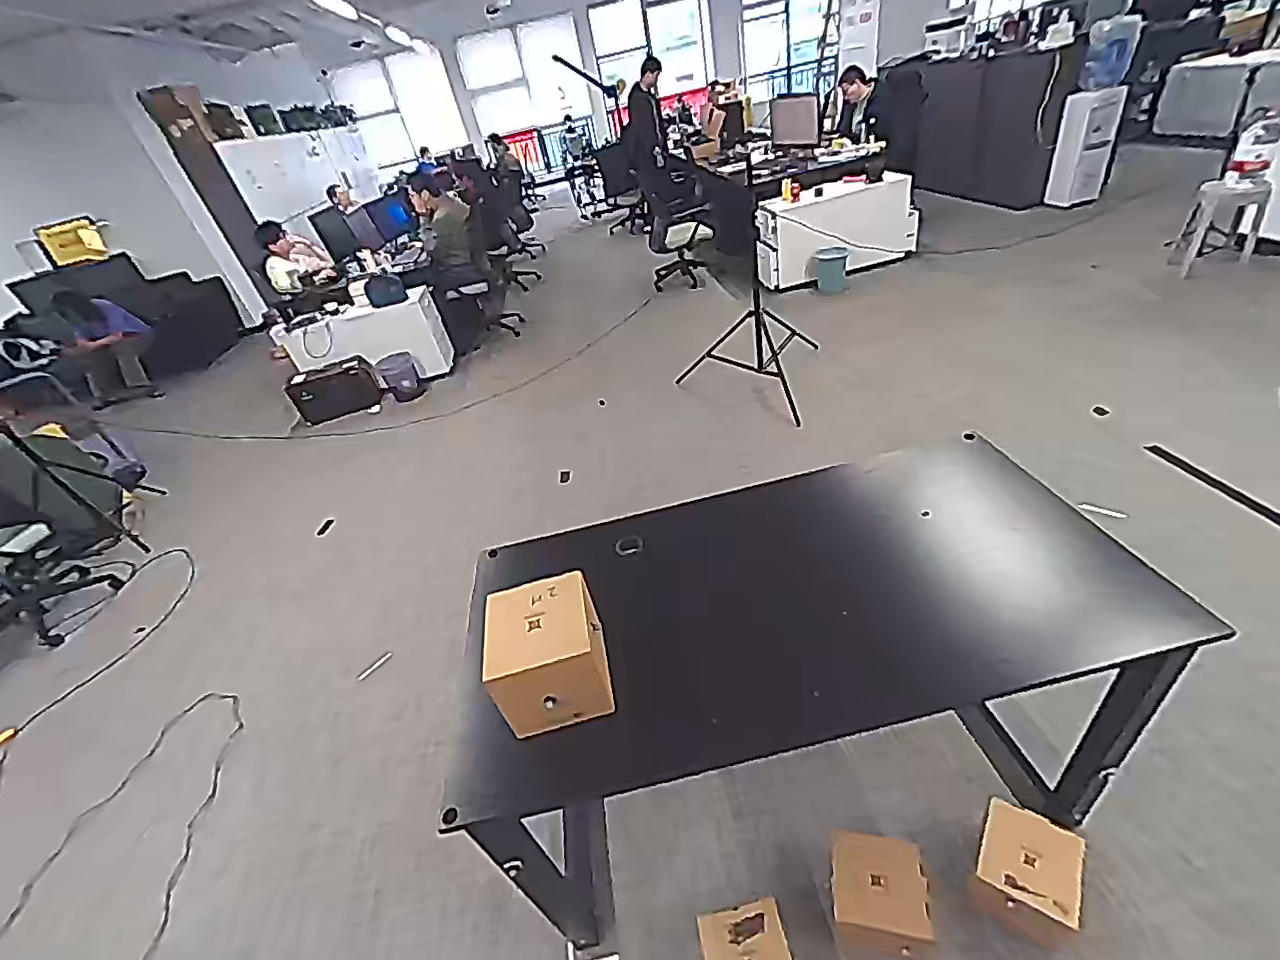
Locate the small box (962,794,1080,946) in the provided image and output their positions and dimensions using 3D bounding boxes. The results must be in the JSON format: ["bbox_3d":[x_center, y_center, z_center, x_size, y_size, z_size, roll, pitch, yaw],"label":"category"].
[{"bbox_3d":[0.792,0.815,1.133,0.168,0.176,0.179,15,45,34],"label":"small box"}]

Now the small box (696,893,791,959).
[{"bbox_3d":[0.220,0.985,1.096,0.168,0.176,0.179,-15,38,-1],"label":"small box"}]

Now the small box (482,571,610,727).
[{"bbox_3d":[-0.153,0.288,0.907,0.168,0.176,0.179,-15,36,-3],"label":"small box"}]

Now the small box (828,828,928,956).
[{"bbox_3d":[0.496,0.877,1.152,0.179,0.176,0.168,-2,37,17],"label":"small box"}]
